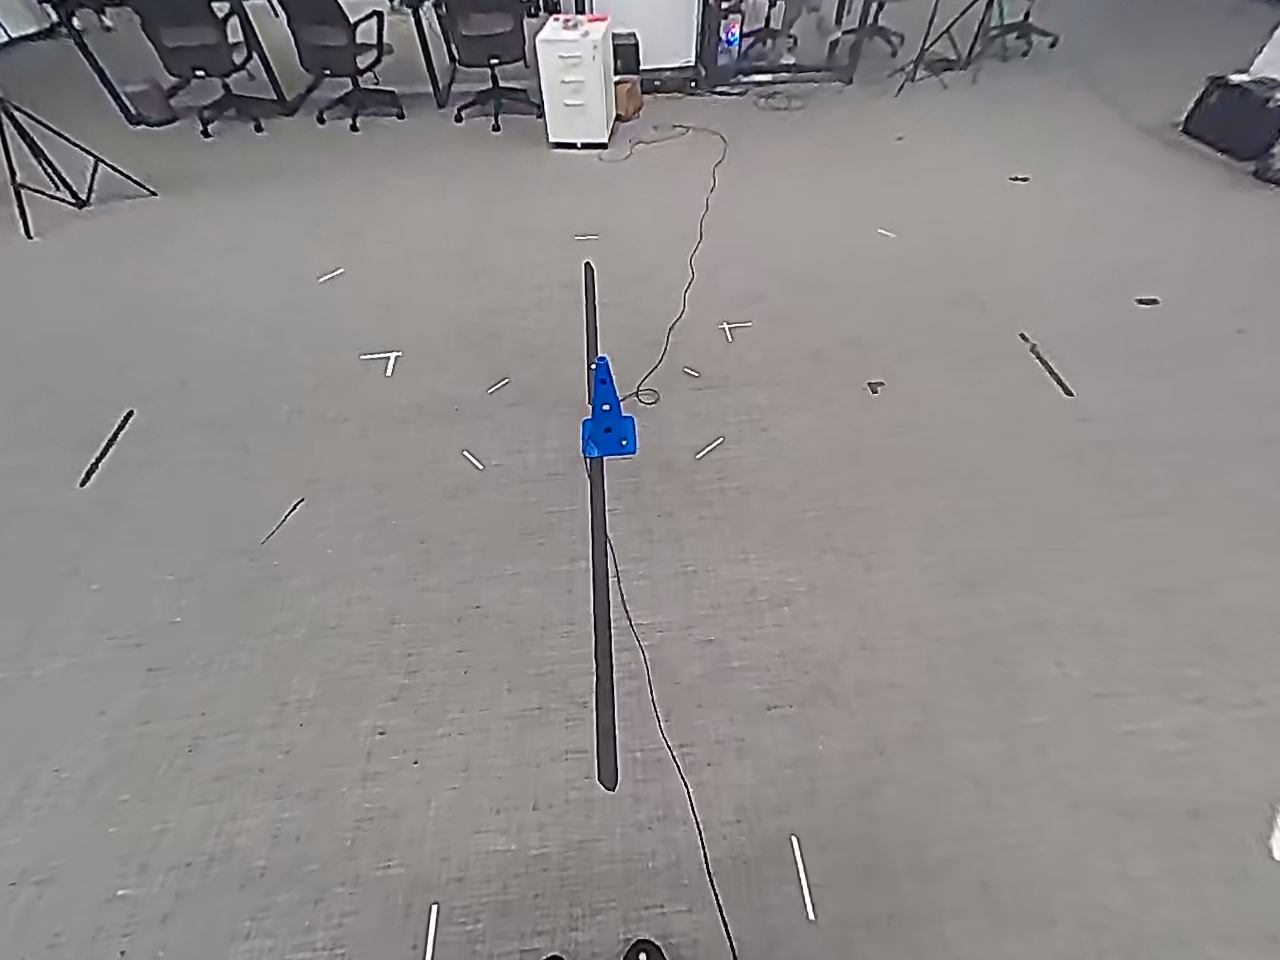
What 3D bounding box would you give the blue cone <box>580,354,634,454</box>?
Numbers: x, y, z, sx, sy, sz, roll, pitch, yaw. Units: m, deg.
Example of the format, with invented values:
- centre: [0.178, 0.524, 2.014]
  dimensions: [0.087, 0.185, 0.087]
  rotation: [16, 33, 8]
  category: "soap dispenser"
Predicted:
- centre: [-0.125, -0.278, 1.867]
  dimensions: [0.193, 0.380, 0.192]
  rotation: [-5, 51, -4]
  category: "blue cone"
